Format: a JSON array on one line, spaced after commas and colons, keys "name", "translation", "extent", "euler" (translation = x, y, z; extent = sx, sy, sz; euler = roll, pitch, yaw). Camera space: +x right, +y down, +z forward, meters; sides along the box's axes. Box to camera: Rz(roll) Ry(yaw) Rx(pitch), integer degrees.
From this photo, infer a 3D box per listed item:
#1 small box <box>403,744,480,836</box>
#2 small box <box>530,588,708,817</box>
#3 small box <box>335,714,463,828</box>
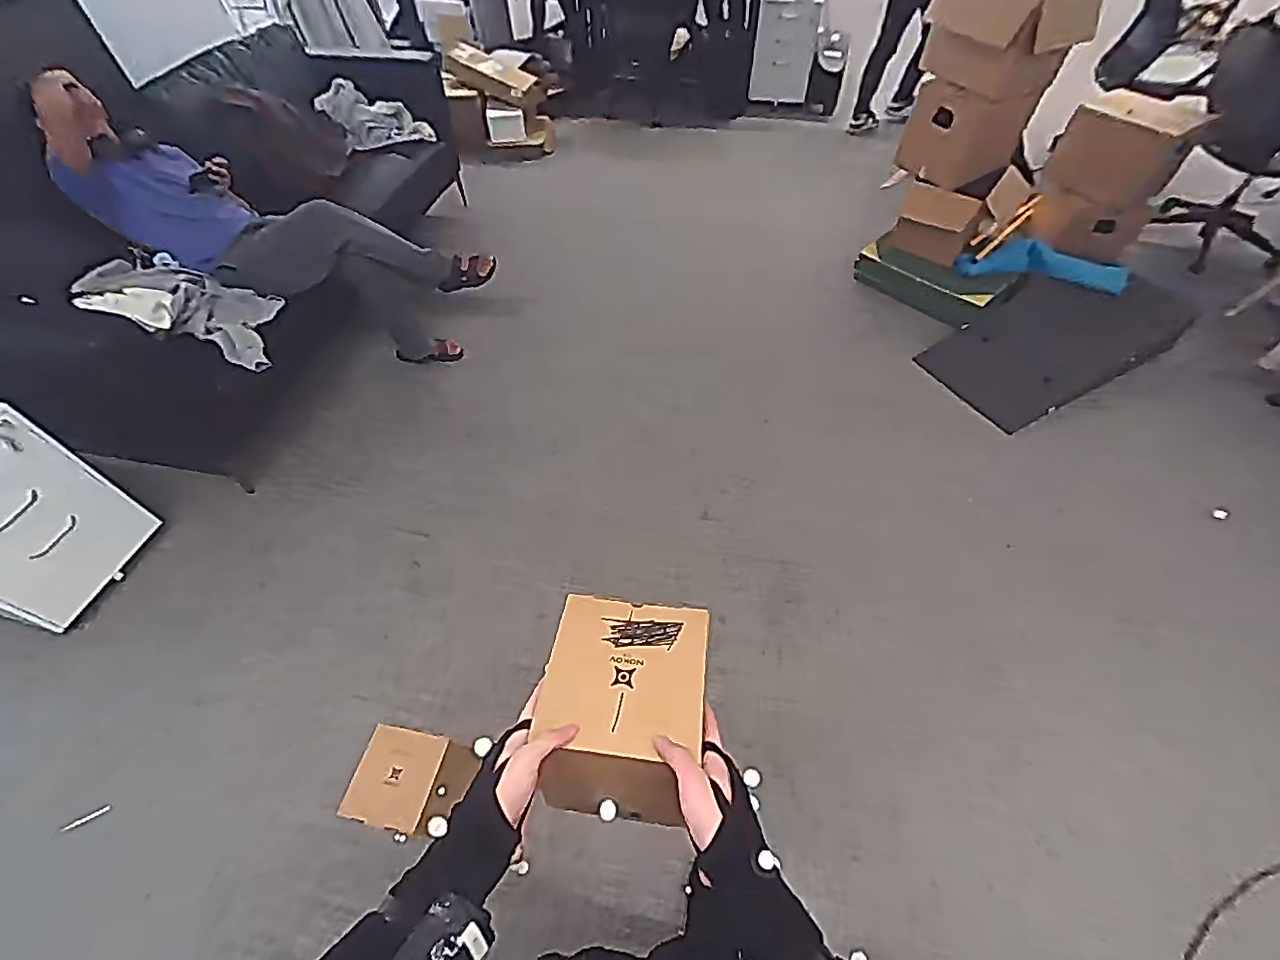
[{"name": "small box", "translation": [-0.499, 0.727, 1.291], "extent": [0.168, 0.176, 0.179], "euler": [10, 54, 8]}, {"name": "small box", "translation": [-0.015, 0.251, 0.619], "extent": [0.168, 0.176, 0.179], "euler": [5, 41, 6]}, {"name": "small box", "translation": [-0.502, 0.629, 1.161], "extent": [0.168, 0.176, 0.179], "euler": [9, 53, 6]}]
